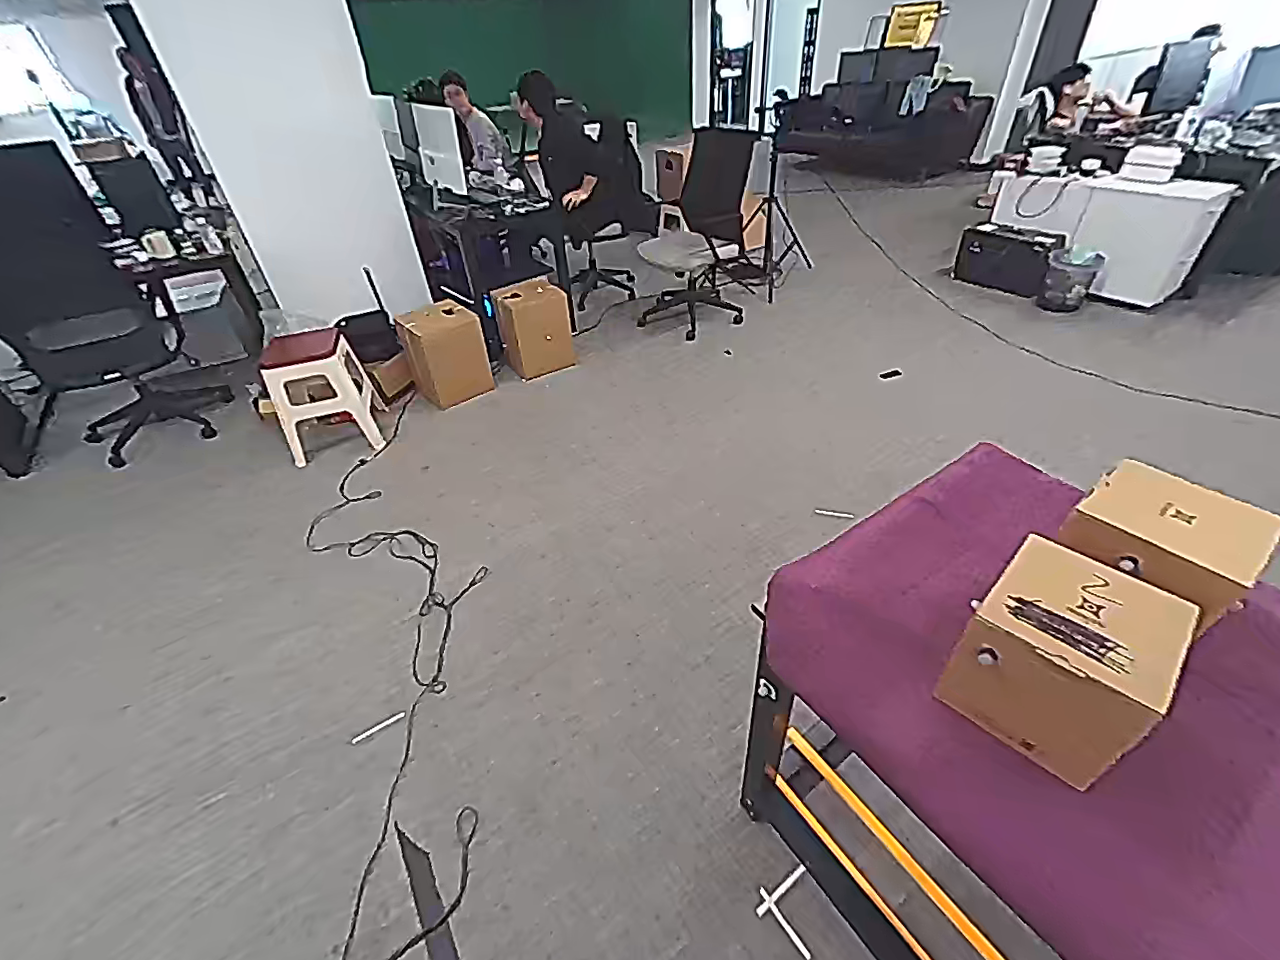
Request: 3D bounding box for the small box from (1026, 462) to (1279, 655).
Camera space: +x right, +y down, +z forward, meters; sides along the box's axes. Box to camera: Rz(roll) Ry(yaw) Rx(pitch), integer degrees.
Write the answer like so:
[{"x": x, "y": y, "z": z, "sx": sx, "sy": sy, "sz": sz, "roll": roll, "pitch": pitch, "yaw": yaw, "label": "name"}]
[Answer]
[{"x": 0.684, "y": 0.111, "z": 0.739, "sx": 0.168, "sy": 0.176, "sz": 0.179, "roll": -28, "pitch": 45, "yaw": -26, "label": "small box"}]
